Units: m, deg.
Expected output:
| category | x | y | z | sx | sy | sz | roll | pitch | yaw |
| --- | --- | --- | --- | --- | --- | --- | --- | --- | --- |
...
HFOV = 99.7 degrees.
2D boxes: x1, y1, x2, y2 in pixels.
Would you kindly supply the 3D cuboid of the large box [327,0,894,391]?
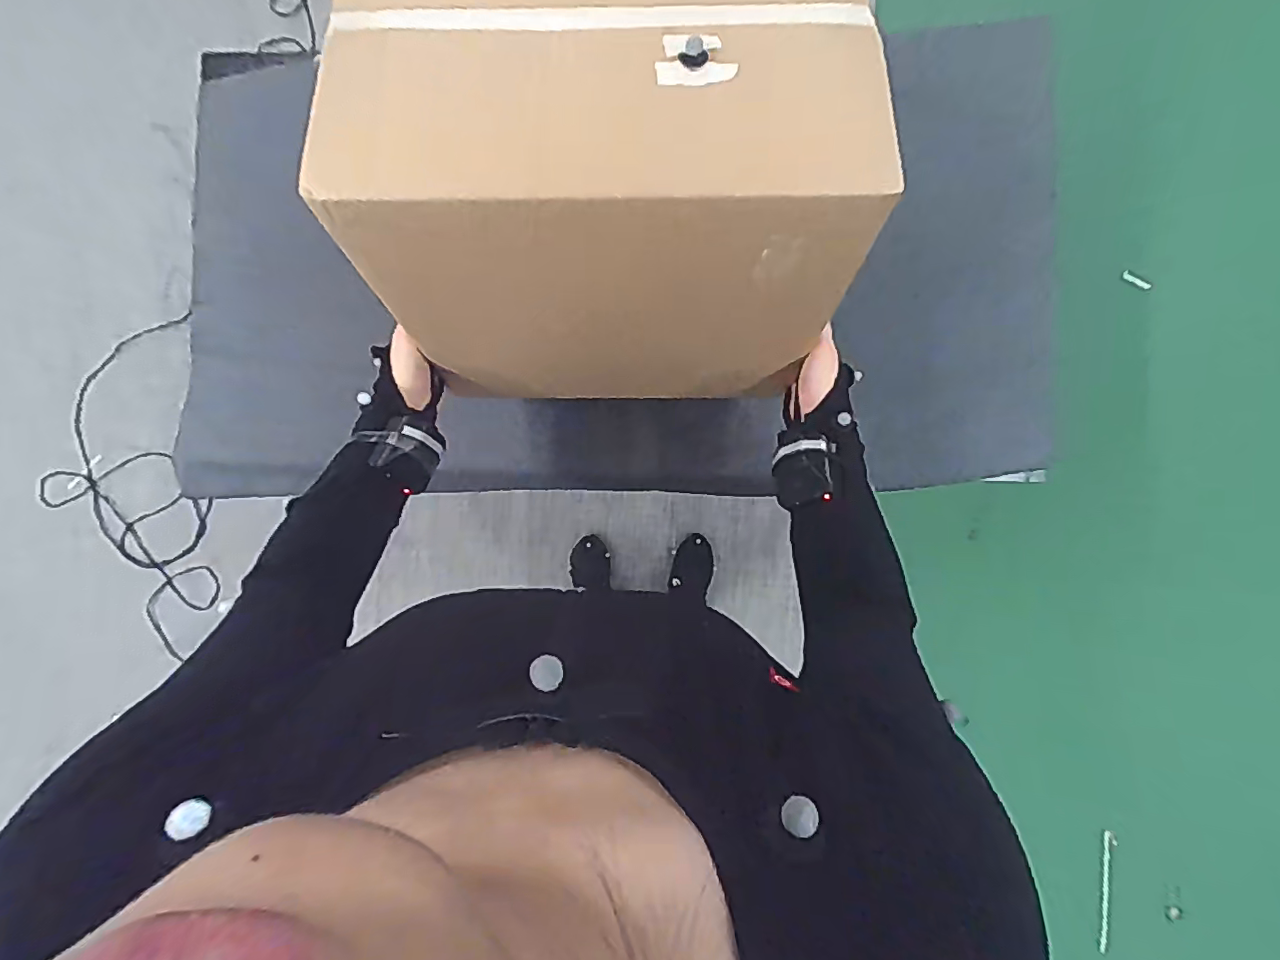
| category | x | y | z | sx | sy | sz | roll | pitch | yaw |
| --- | --- | --- | --- | --- | --- | --- | --- | --- | --- |
| large box | -0.025 | -0.299 | 0.558 | 0.408 | 0.320 | 0.320 | -1 | 74 | 0 |
